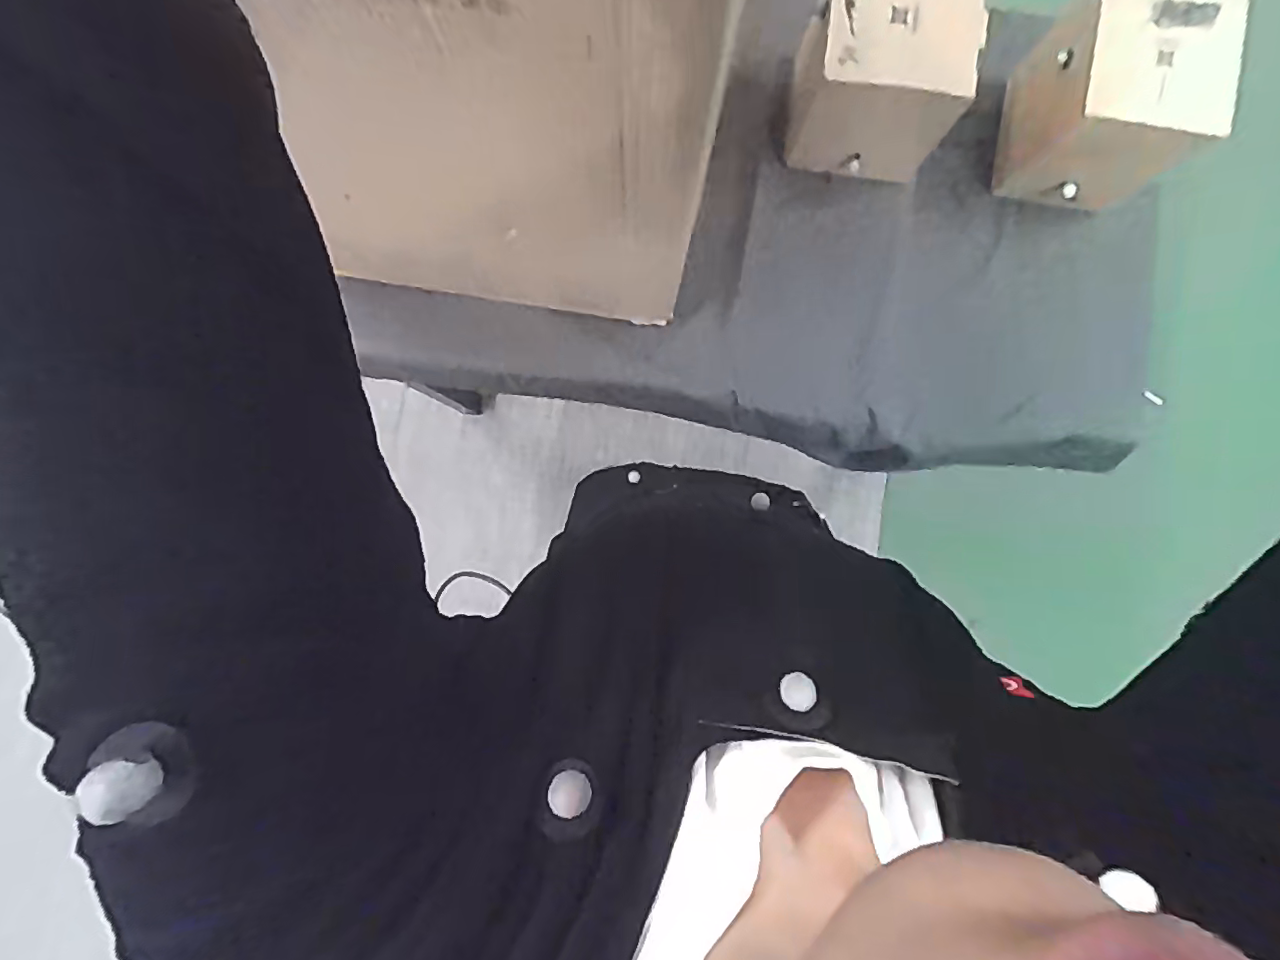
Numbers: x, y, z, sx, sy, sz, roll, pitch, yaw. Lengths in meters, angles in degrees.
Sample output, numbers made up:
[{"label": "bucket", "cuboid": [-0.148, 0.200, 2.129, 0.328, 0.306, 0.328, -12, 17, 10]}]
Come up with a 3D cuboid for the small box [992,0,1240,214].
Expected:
[{"label": "small box", "cuboid": [0.593, -0.481, 0.698, 0.168, 0.176, 0.179, 10, 89, 0]}]
